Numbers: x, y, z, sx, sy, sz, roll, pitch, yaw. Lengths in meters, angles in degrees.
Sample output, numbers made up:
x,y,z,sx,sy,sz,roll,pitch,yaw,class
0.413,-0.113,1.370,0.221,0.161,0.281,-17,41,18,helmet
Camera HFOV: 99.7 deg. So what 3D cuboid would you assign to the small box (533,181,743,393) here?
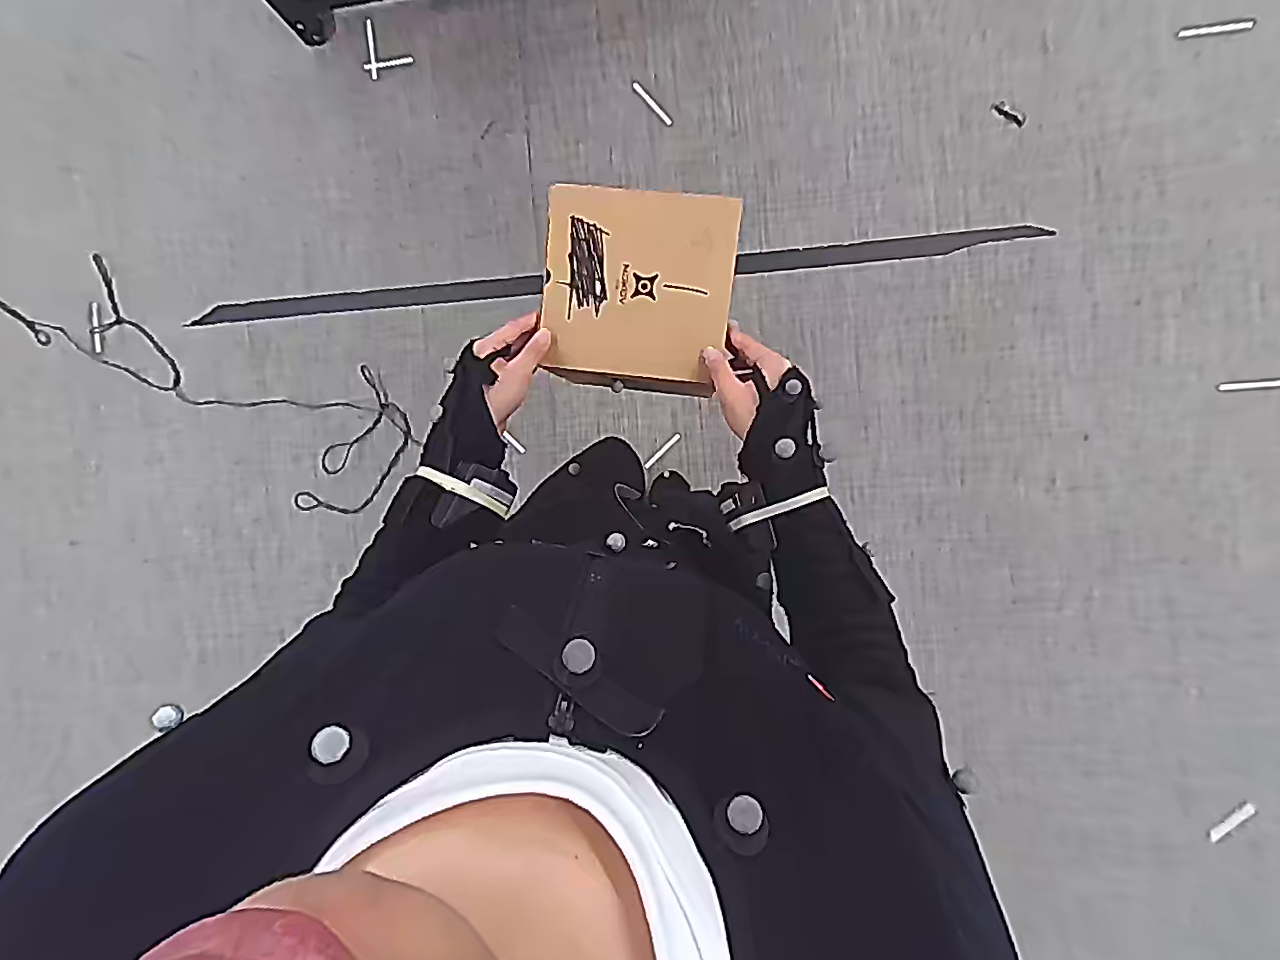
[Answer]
x,y,z,sx,sy,sz,roll,pitch,yaw,class
0.002,-0.185,0.564,0.179,0.176,0.168,7,95,4,small box
